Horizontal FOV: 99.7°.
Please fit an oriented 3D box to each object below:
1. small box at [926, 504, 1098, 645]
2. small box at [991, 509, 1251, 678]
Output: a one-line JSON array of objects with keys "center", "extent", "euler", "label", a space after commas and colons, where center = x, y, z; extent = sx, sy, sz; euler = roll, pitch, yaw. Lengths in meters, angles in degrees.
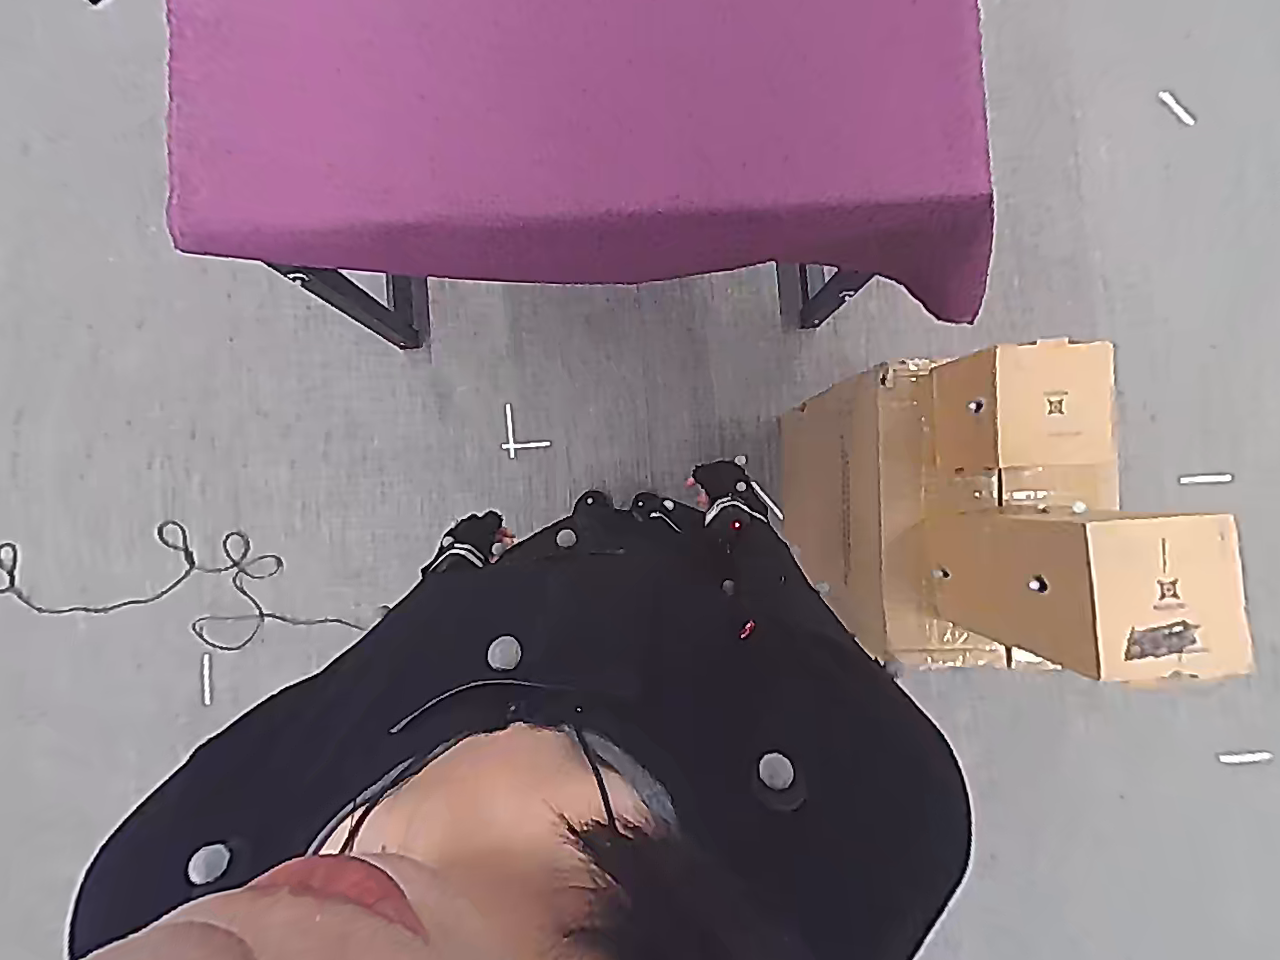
[{"center": [0.570, 0.134, 0.828], "extent": [0.168, 0.176, 0.179], "euler": [-9, 88, -1], "label": "small box"}, {"center": [0.568, 0.126, 0.663], "extent": [0.168, 0.176, 0.179], "euler": [-3, 86, 0], "label": "small box"}]
